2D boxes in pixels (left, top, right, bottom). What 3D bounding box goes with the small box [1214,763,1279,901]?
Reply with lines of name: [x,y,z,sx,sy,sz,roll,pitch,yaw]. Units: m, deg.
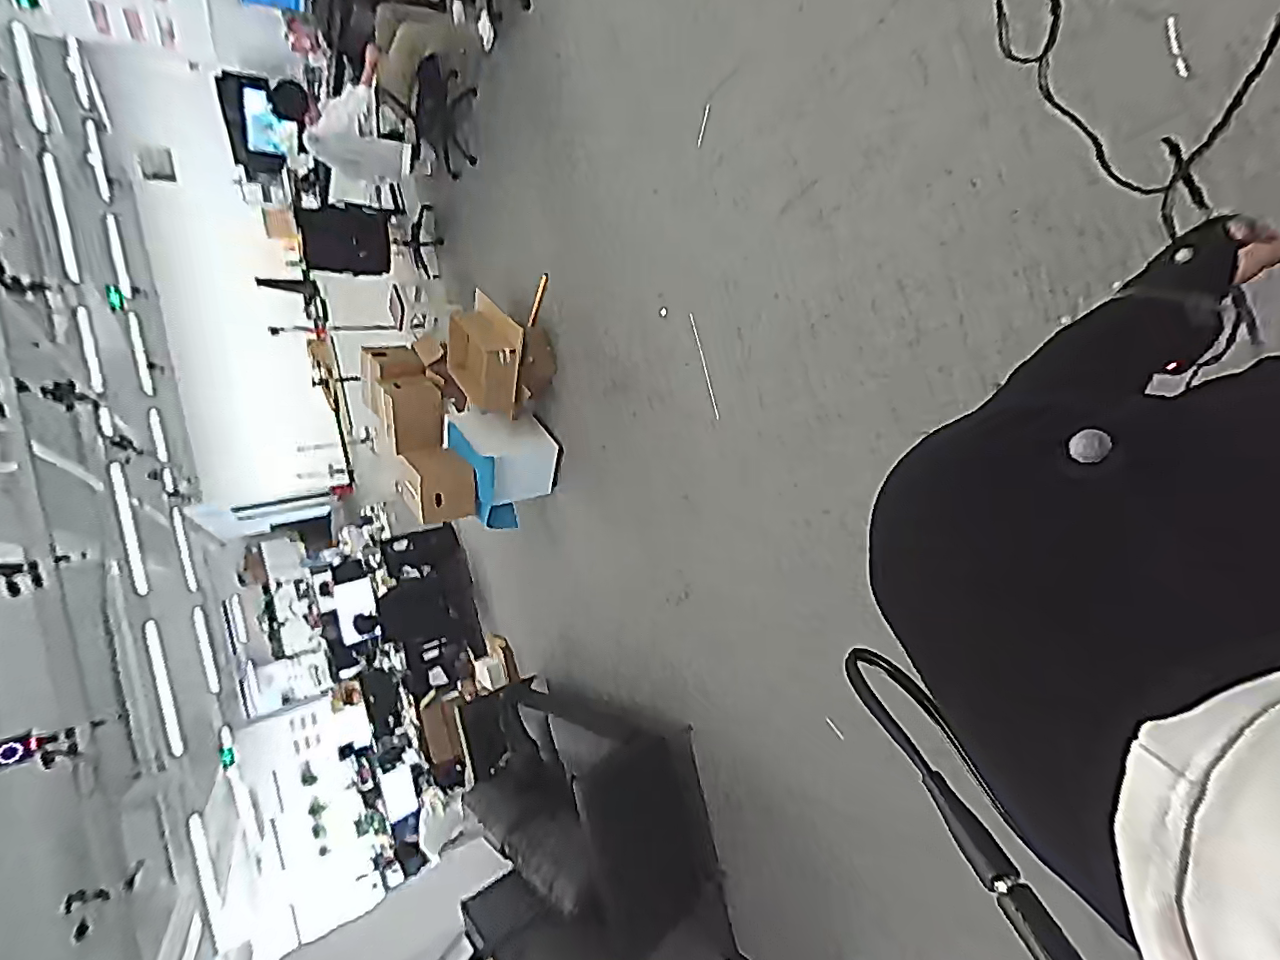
small box: [1.187,0.646,0.978,0.179,0.176,0.168,-6,96,54]

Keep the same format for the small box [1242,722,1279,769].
small box: [1.321,0.608,1.063,0.168,0.176,0.179,-2,97,55]
